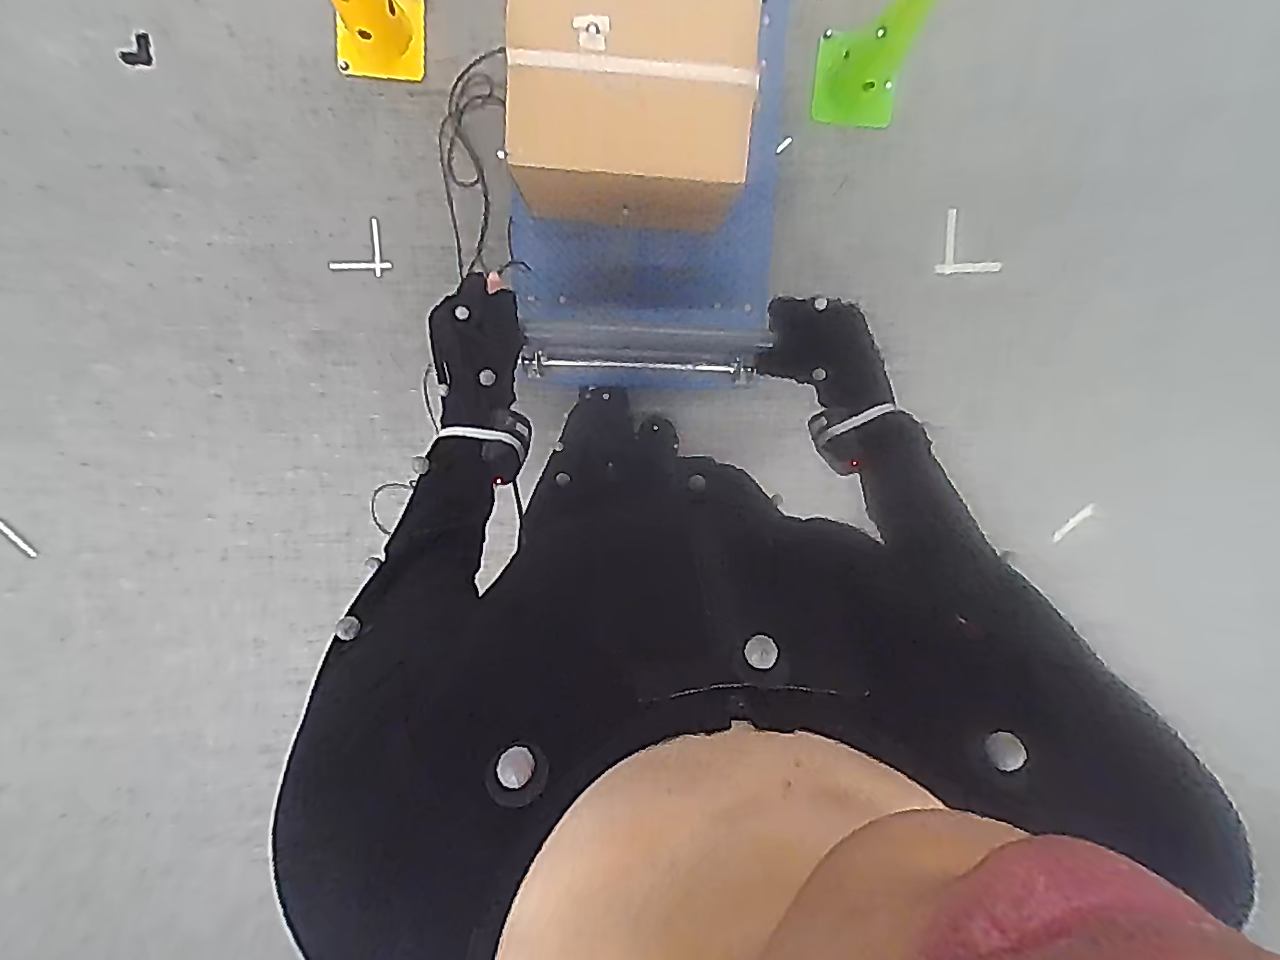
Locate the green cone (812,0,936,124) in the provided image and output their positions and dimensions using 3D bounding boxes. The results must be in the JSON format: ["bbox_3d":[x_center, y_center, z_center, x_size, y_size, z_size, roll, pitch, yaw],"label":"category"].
[{"bbox_3d":[0.532,-0.952,1.146,0.202,0.368,0.200,4,100,-4],"label":"green cone"}]

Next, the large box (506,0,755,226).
[{"bbox_3d":[-0.019,-0.692,1.028,0.408,0.320,0.320,3,100,-2],"label":"large box"}]
